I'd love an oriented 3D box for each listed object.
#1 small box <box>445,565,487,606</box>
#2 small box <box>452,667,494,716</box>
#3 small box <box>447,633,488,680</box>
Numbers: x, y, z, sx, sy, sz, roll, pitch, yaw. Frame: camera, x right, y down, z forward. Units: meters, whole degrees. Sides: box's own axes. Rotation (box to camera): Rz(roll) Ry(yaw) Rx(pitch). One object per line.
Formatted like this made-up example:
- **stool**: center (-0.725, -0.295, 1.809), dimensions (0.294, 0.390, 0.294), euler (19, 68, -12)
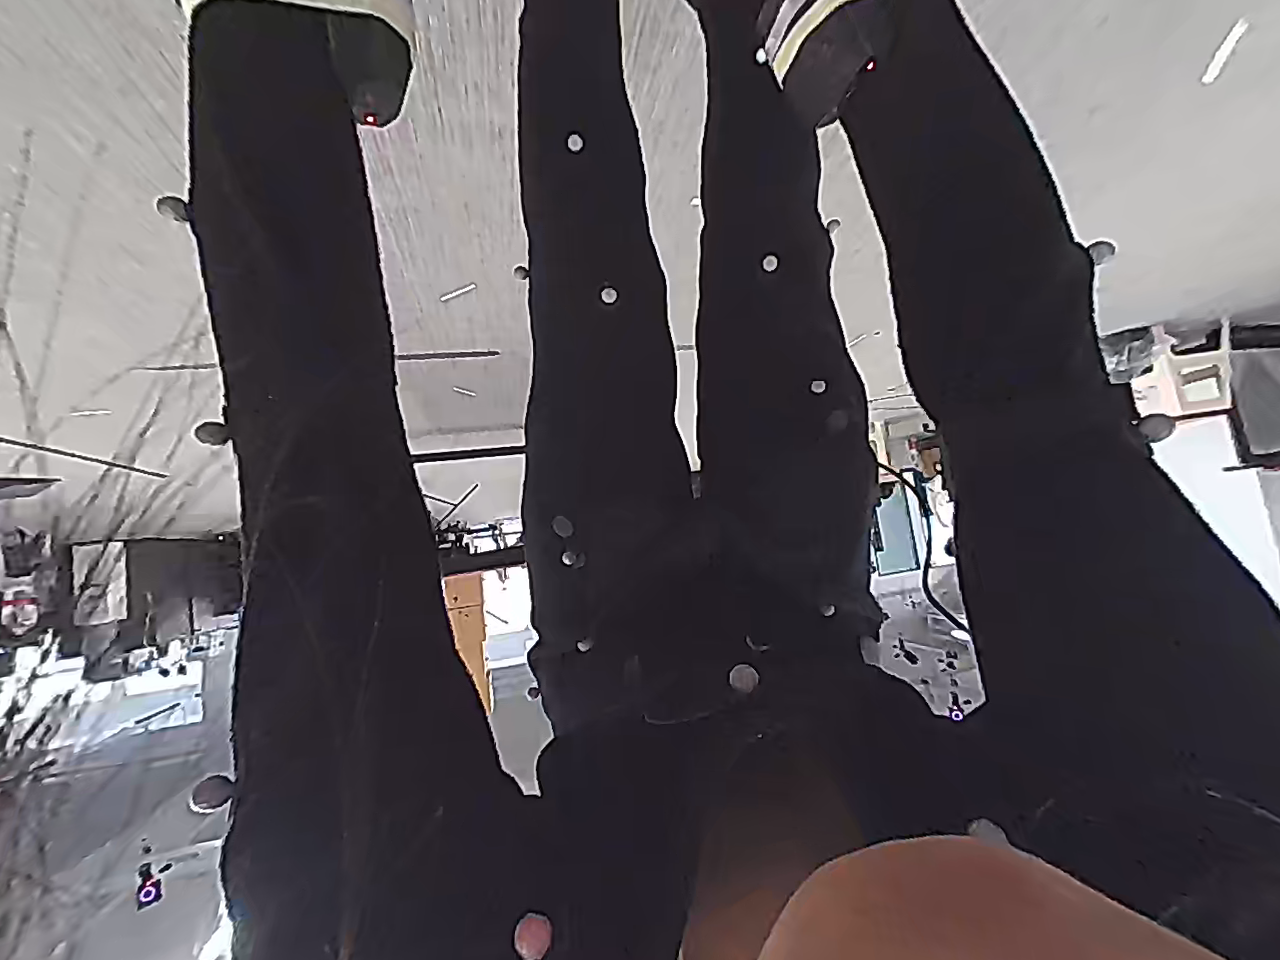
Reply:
- **small box**: center (-0.830, 0.499, 2.577), dimensions (0.179, 0.176, 0.168), euler (-6, 175, -13)
- **small box**: center (-0.784, 0.986, 2.535), dimensions (0.179, 0.176, 0.168), euler (-6, 174, -12)
- **small box**: center (-0.808, 0.824, 2.539), dimensions (0.168, 0.176, 0.179), euler (-6, 174, -13)
